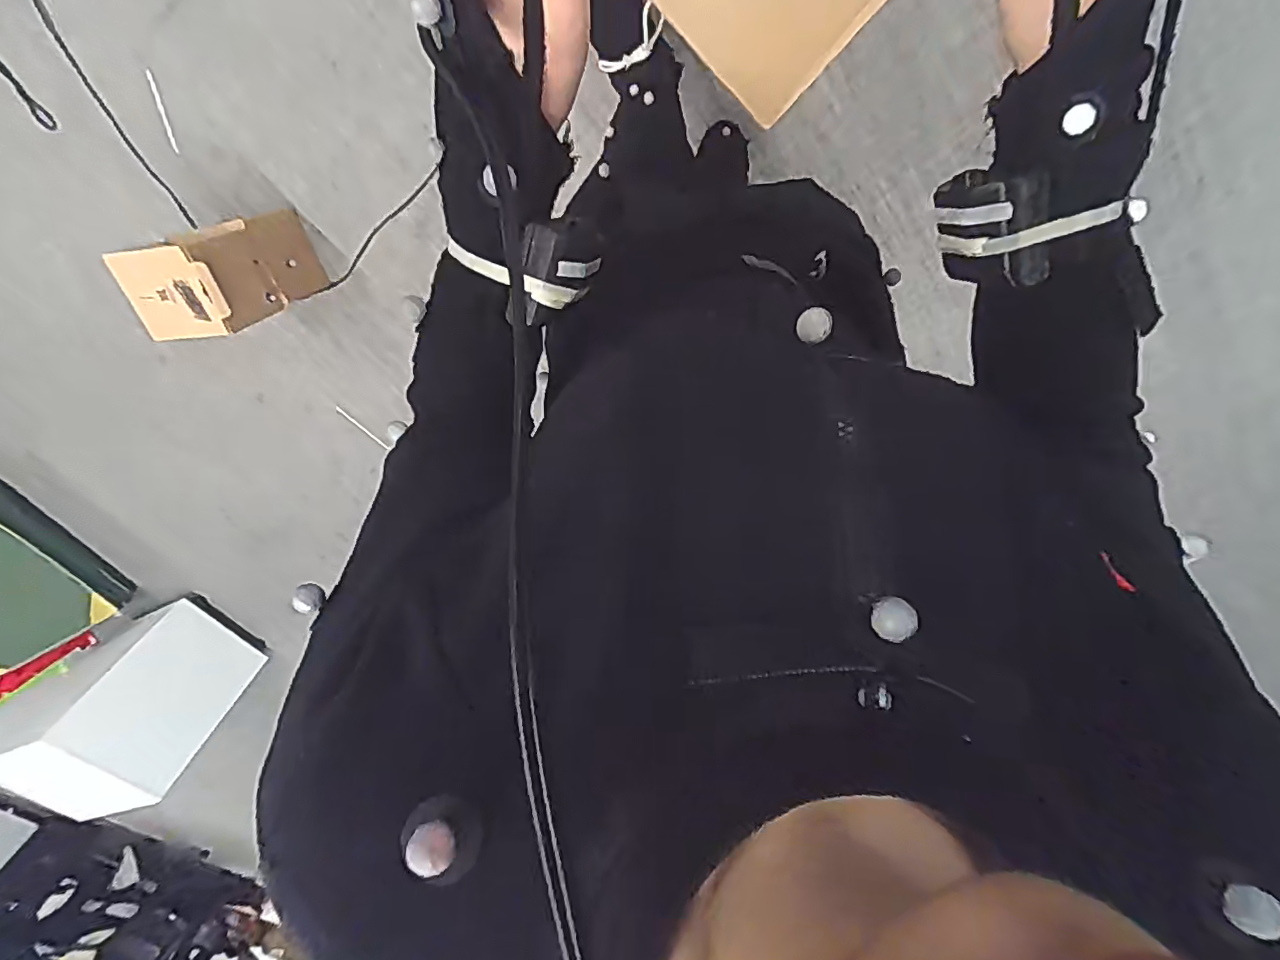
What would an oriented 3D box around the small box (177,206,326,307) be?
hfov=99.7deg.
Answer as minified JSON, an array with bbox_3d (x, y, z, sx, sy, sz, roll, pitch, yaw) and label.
[{"bbox_3d":[-0.849,-0.490,1.205,0.168,0.176,0.179,-6,124,11],"label":"small box"}]

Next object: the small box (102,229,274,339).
[{"bbox_3d":[-0.874,-0.392,1.074,0.179,0.176,0.168,-2,124,9],"label":"small box"}]
